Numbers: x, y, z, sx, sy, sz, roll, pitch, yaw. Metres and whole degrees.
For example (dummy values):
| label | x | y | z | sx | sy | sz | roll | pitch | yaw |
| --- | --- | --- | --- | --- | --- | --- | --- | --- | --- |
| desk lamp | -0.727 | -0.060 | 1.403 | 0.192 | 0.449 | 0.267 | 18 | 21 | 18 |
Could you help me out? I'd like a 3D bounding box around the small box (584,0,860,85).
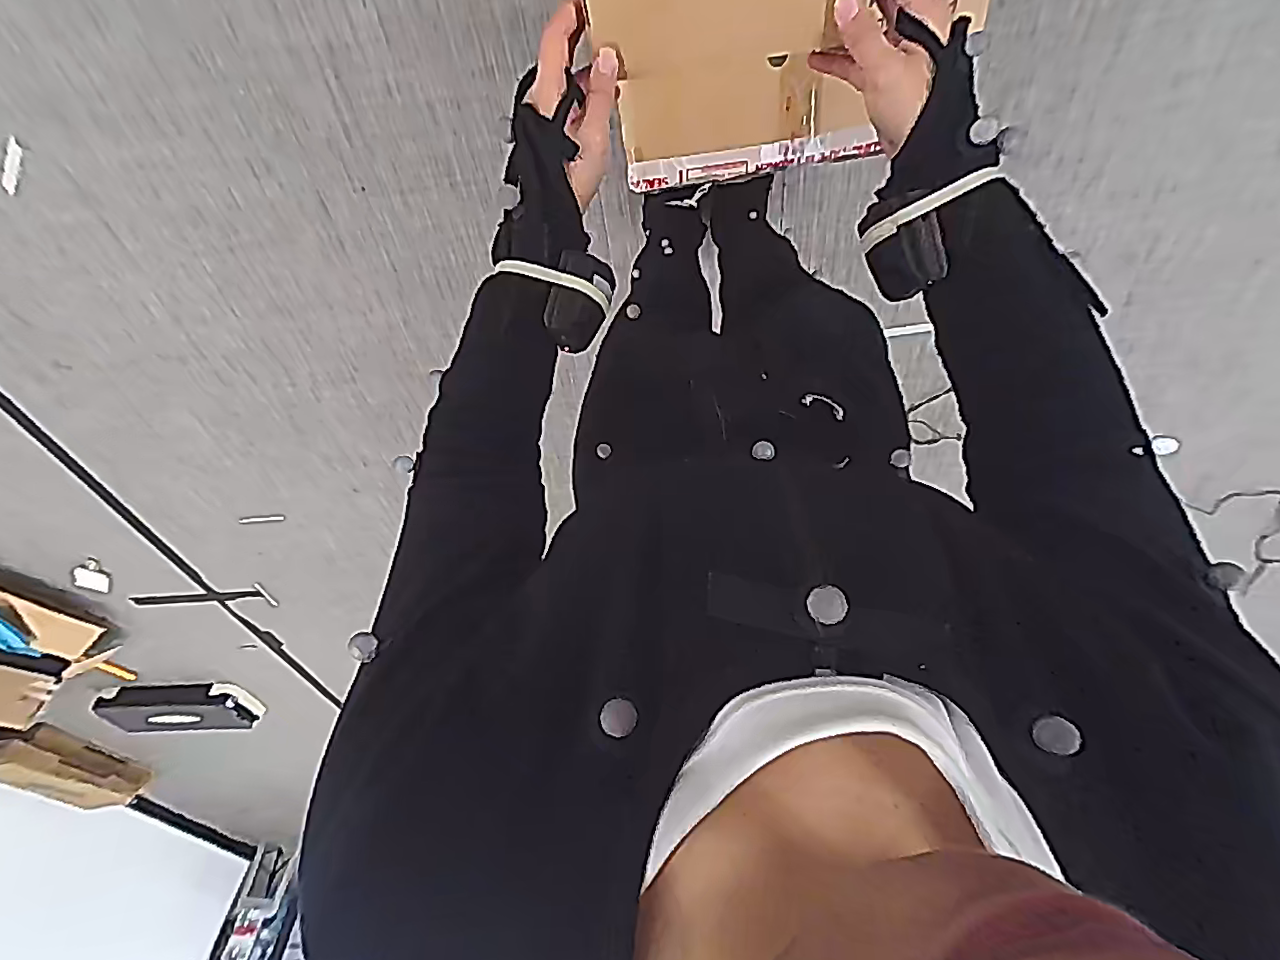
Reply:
| label | x | y | z | sx | sy | sz | roll | pitch | yaw |
| --- | --- | --- | --- | --- | --- | --- | --- | --- | --- |
| small box | 0.045 | -0.393 | 0.351 | 0.179 | 0.176 | 0.168 | -4 | 142 | 6 |
